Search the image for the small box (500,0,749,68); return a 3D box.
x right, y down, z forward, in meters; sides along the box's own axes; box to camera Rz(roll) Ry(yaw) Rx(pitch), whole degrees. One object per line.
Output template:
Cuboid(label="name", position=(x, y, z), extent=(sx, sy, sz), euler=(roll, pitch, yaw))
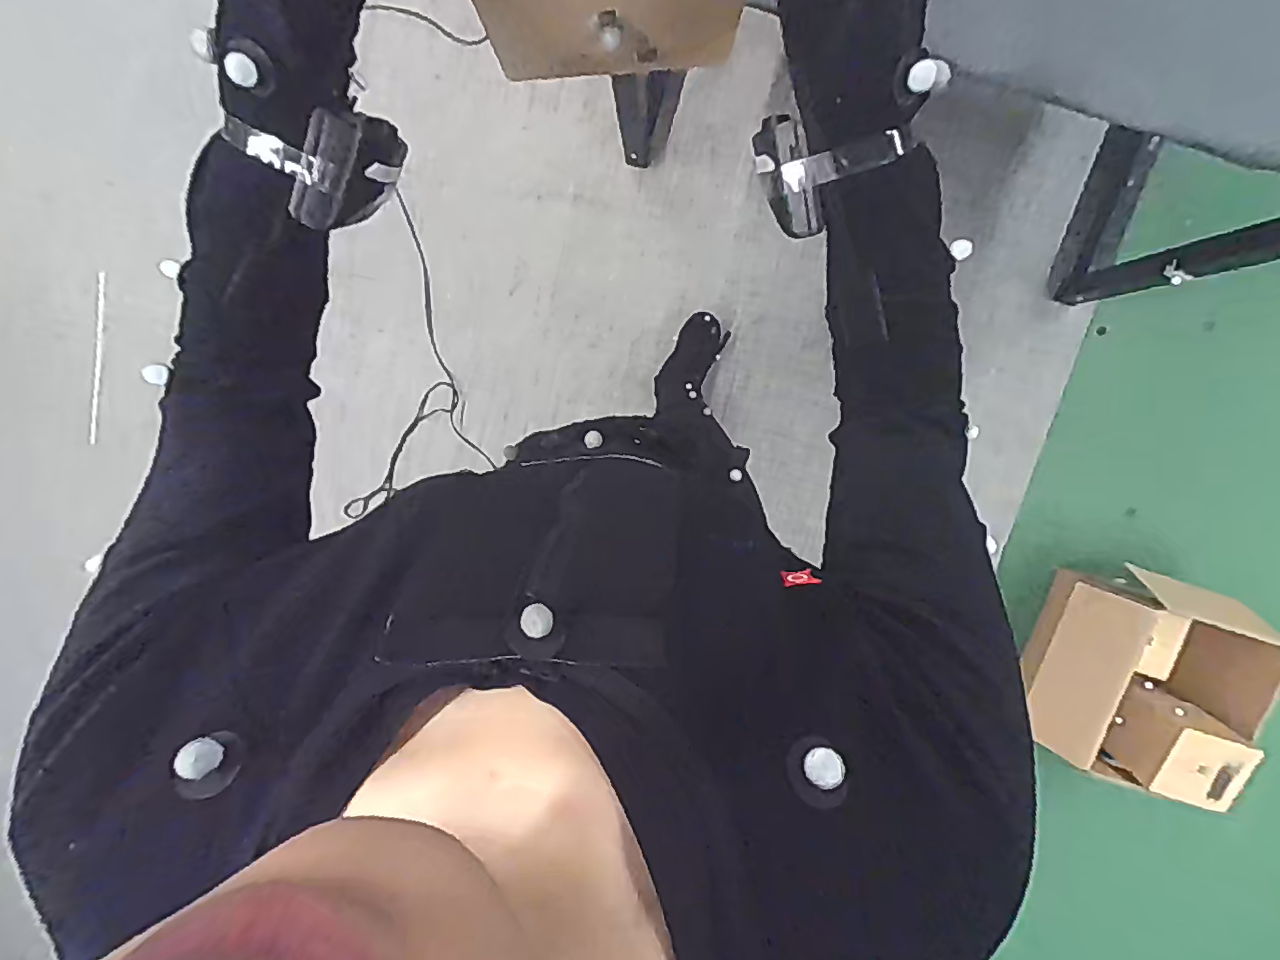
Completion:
Cuboid(label="small box", position=(-0.015, -0.379, 0.303), extent=(0.168, 0.176, 0.179), euler=(-2, 97, 2))
